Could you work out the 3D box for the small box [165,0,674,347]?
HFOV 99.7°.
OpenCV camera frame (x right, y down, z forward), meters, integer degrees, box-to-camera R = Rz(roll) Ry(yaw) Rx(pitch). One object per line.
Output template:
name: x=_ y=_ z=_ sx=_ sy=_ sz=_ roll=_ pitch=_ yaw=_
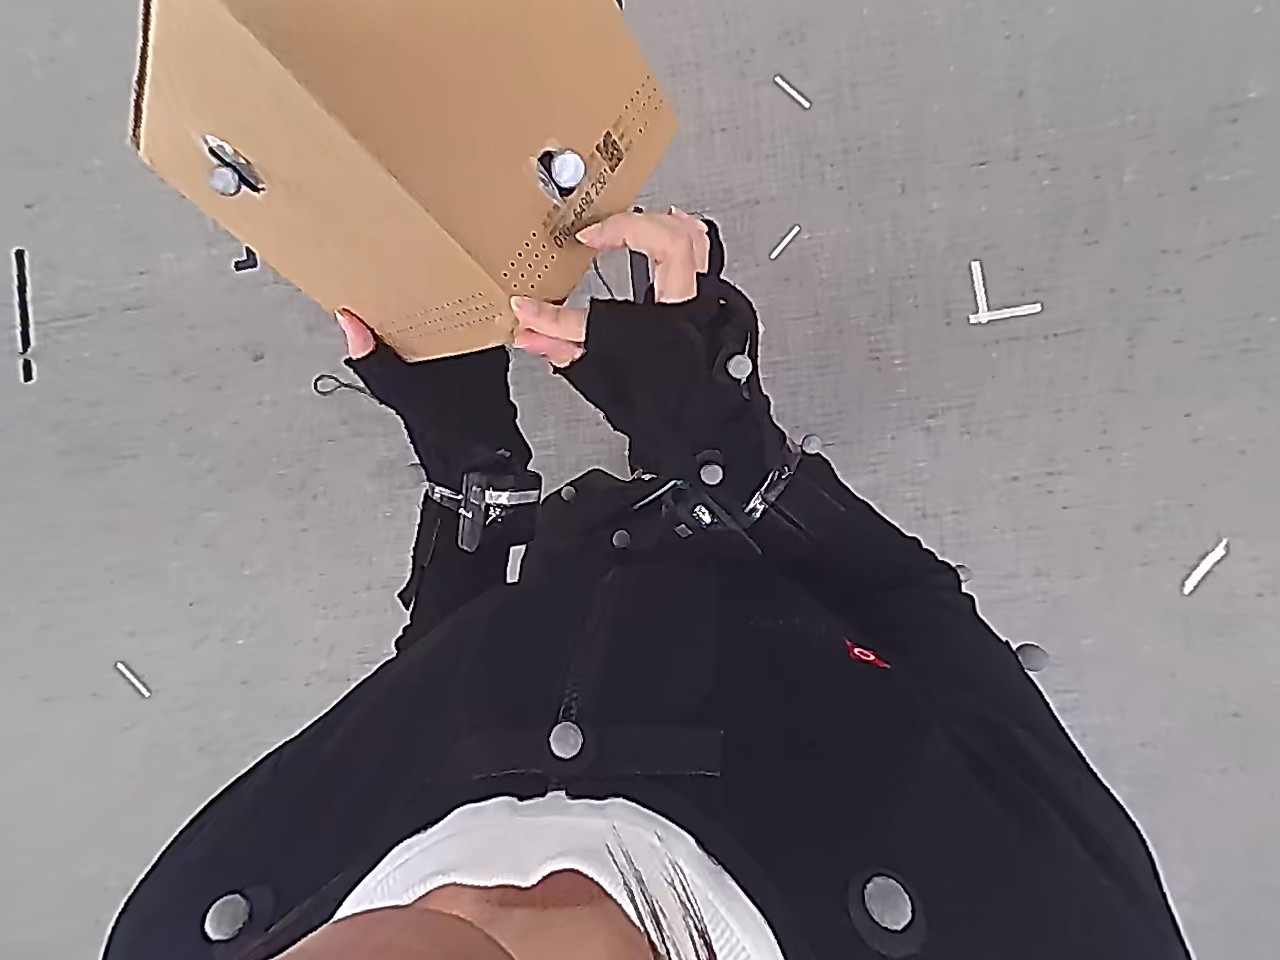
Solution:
small box: x=-0.115 y=-0.193 z=0.307 sx=0.179 sy=0.176 sz=0.168 roll=8 pitch=63 yaw=46
